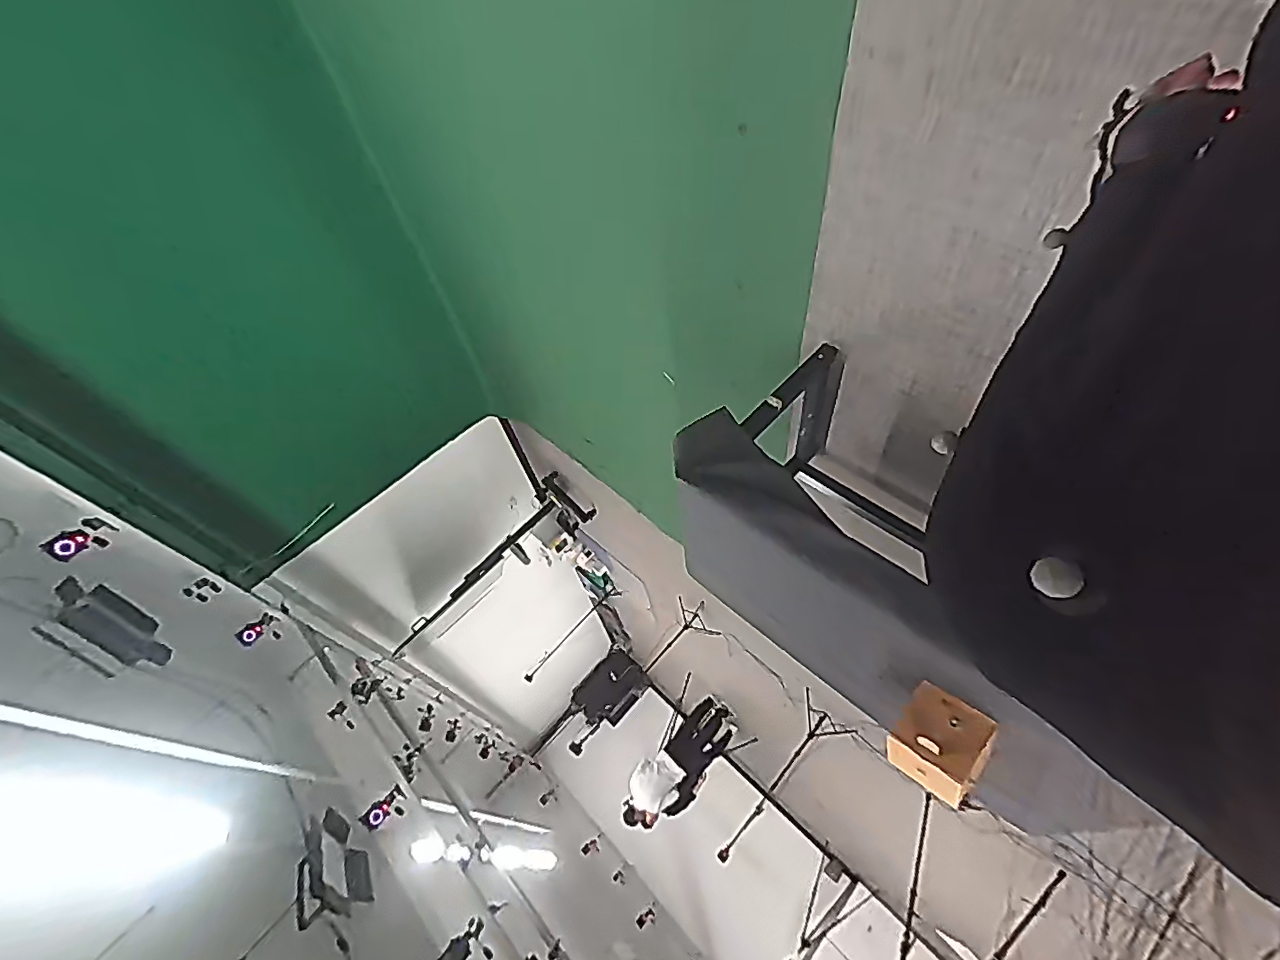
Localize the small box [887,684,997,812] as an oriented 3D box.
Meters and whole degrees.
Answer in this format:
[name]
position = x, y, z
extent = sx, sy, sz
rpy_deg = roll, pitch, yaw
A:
[small box]
position = 0.697, 0.616, 1.252
extent = 0.168, 0.176, 0.179
rpy_deg = 28, 151, 43
